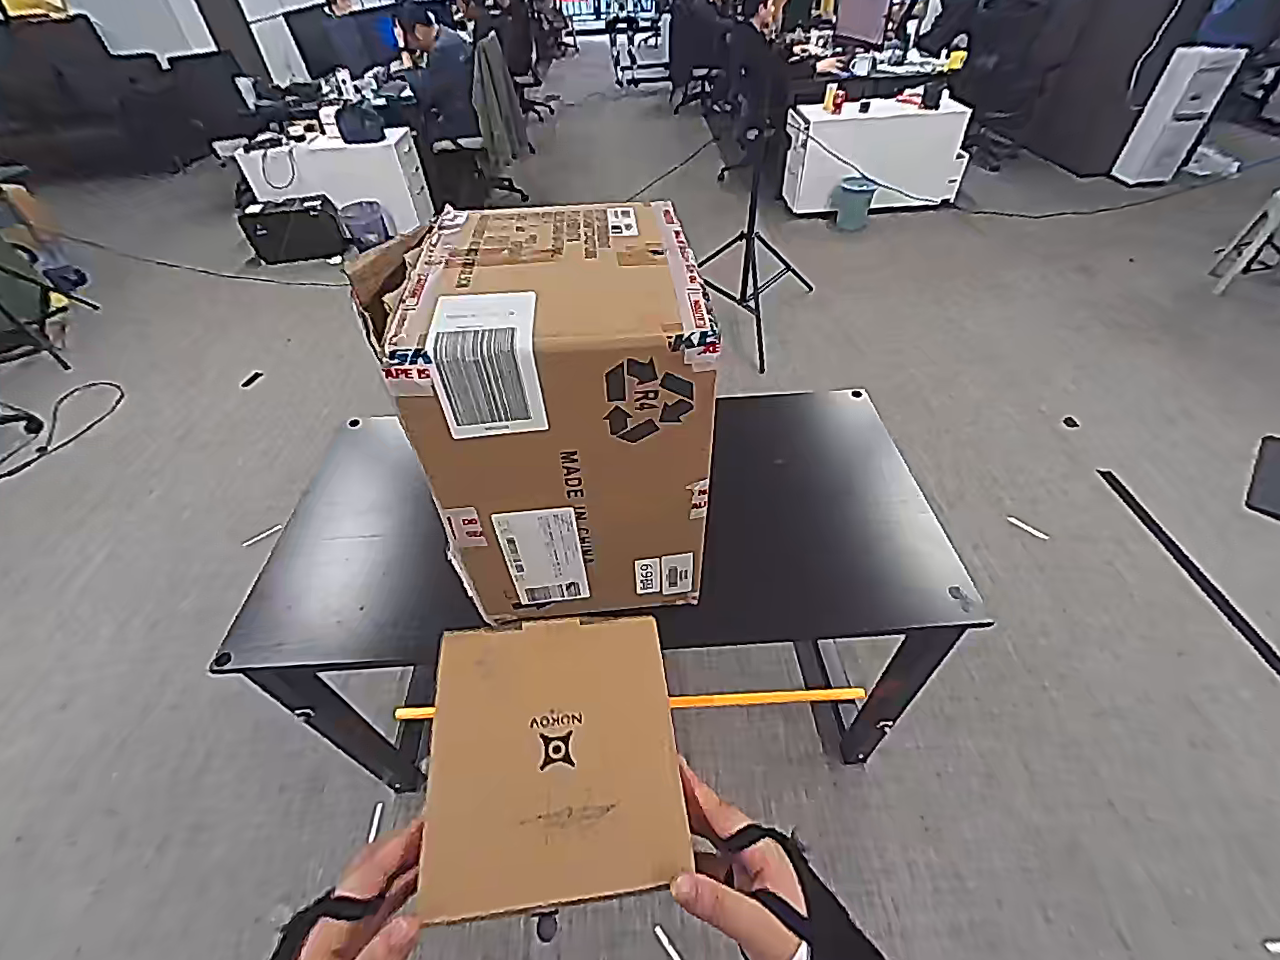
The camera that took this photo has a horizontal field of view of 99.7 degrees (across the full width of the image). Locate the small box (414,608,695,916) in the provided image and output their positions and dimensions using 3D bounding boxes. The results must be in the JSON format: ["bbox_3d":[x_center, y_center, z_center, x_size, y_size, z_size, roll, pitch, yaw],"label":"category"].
[{"bbox_3d":[-0.066,0.221,0.425,0.168,0.176,0.179,-2,52,-10],"label":"small box"}]
